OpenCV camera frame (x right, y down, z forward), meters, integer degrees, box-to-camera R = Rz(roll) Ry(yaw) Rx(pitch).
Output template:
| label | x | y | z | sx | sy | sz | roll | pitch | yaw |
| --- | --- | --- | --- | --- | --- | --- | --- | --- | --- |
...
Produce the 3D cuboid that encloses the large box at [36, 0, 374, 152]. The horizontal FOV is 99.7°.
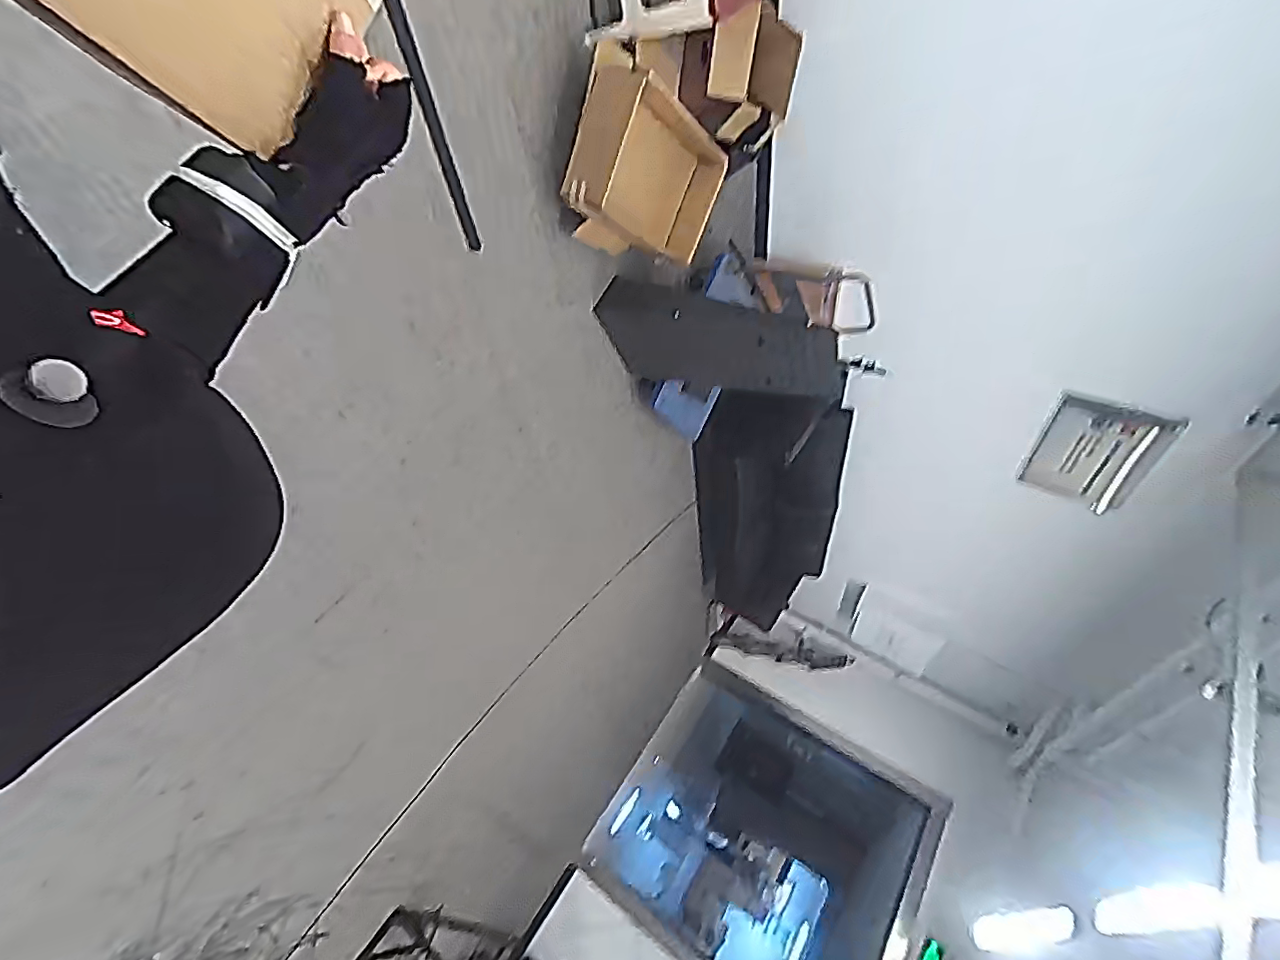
| label | x | y | z | sx | sy | sz | roll | pitch | yaw |
| --- | --- | --- | --- | --- | --- | --- | --- | --- | --- |
| large box | -0.392 | -0.501 | 0.309 | 0.320 | 0.320 | 0.408 | -55 | 156 | 3 |
